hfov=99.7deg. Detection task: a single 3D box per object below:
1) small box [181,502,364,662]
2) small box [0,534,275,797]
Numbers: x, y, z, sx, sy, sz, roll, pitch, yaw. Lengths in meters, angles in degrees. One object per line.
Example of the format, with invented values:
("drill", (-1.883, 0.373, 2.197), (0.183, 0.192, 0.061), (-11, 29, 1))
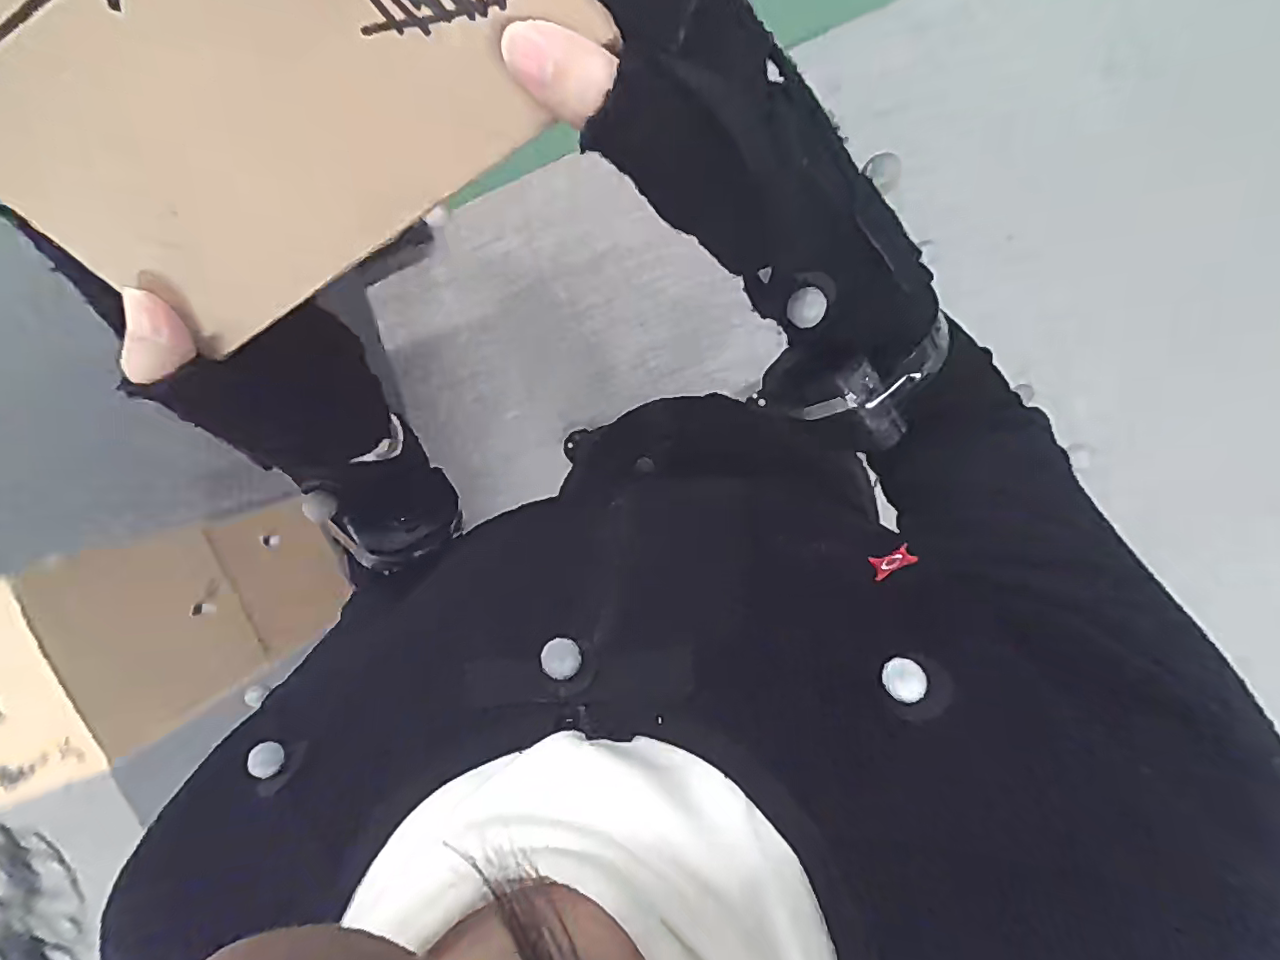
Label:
("small box", (-0.506, 0.139, 0.702), (0.168, 0.176, 0.179), (-22, 99, 12))
("small box", (-0.525, 0.166, 0.542), (0.168, 0.176, 0.179), (-21, 97, 12))
